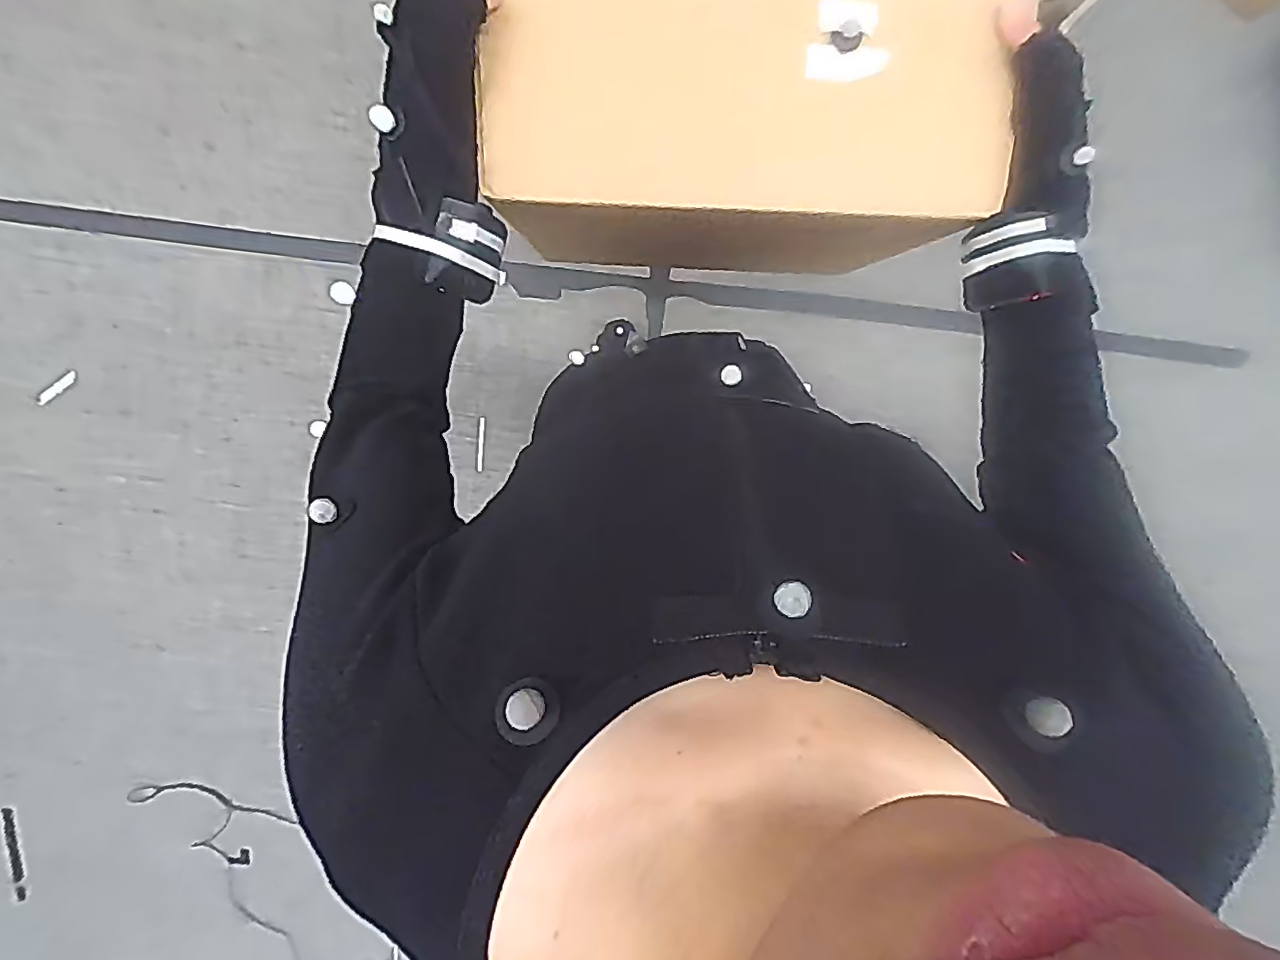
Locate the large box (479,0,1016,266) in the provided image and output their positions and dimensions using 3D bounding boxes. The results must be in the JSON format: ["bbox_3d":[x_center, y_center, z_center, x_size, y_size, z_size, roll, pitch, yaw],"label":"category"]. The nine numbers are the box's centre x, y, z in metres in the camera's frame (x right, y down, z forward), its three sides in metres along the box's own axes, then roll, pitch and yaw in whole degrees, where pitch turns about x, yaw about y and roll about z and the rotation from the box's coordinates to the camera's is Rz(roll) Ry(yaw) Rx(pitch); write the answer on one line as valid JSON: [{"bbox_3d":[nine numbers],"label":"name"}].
[{"bbox_3d":[0.075,-0.403,0.537,0.408,0.320,0.320,2,103,-2],"label":"large box"}]
